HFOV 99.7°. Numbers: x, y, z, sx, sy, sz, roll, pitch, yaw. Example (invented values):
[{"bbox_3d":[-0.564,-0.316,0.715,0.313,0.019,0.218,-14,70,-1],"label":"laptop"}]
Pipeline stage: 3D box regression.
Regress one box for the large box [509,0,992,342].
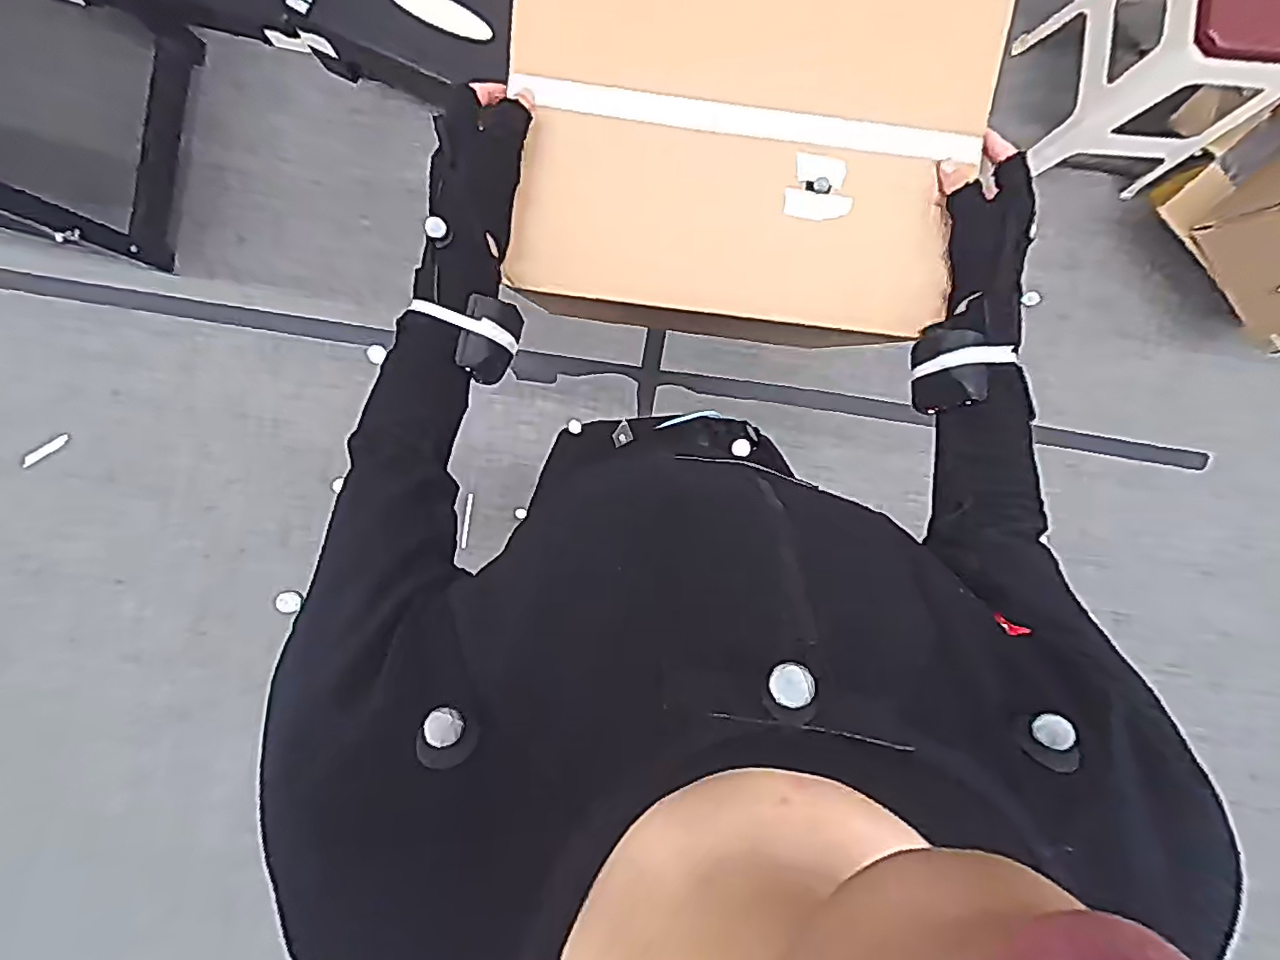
[{"bbox_3d":[0.084,-0.339,0.620,0.408,0.320,0.320,6,103,-4],"label":"large box"}]
